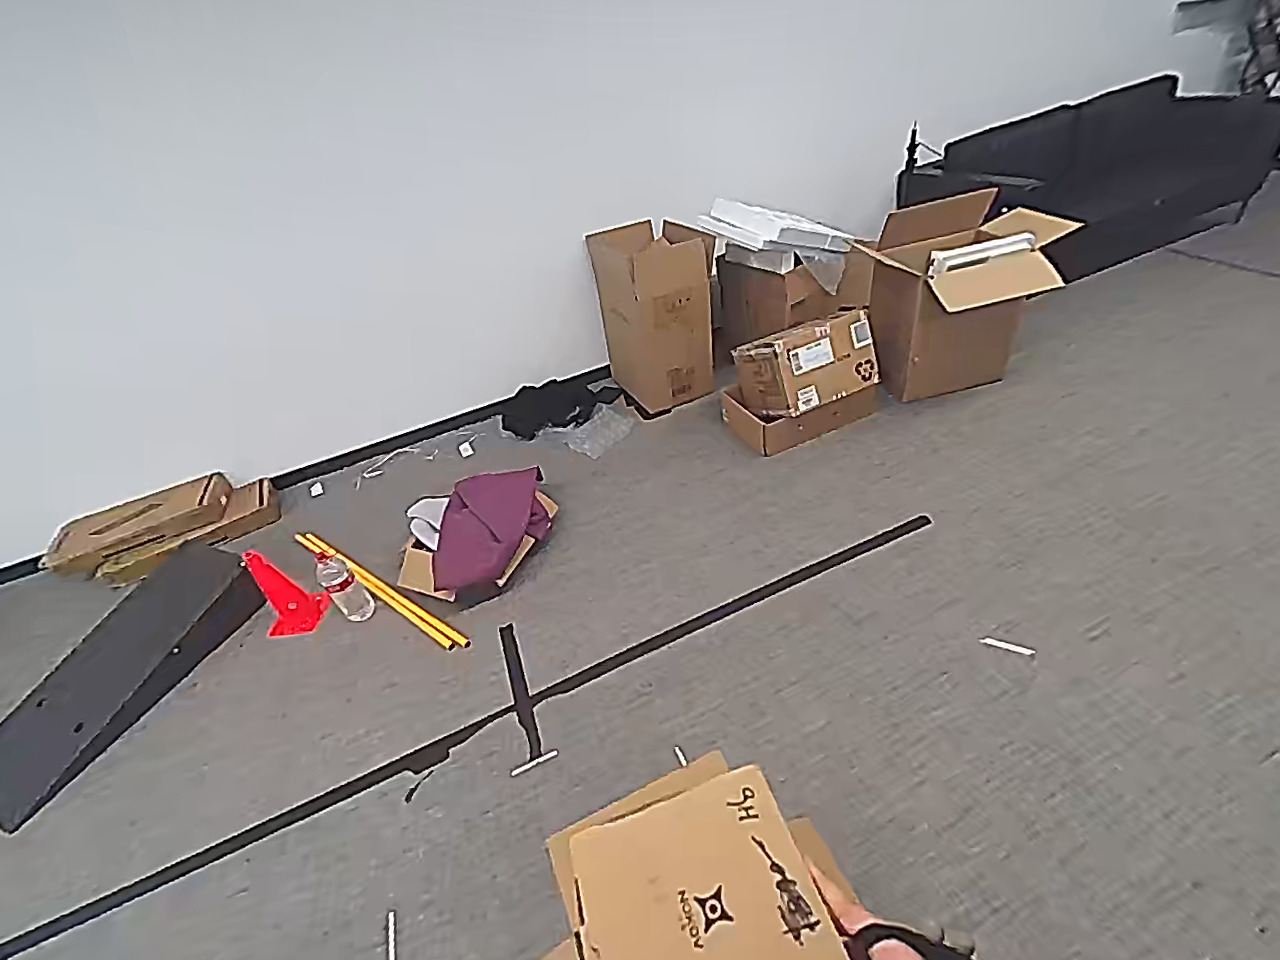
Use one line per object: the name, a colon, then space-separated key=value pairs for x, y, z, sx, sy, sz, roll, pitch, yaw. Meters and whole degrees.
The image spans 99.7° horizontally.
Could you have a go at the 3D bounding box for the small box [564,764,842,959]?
small box: x=0.050 y=0.380 z=0.452 sx=0.179 sy=0.176 sz=0.168 roll=-16 pitch=42 yaw=-9
